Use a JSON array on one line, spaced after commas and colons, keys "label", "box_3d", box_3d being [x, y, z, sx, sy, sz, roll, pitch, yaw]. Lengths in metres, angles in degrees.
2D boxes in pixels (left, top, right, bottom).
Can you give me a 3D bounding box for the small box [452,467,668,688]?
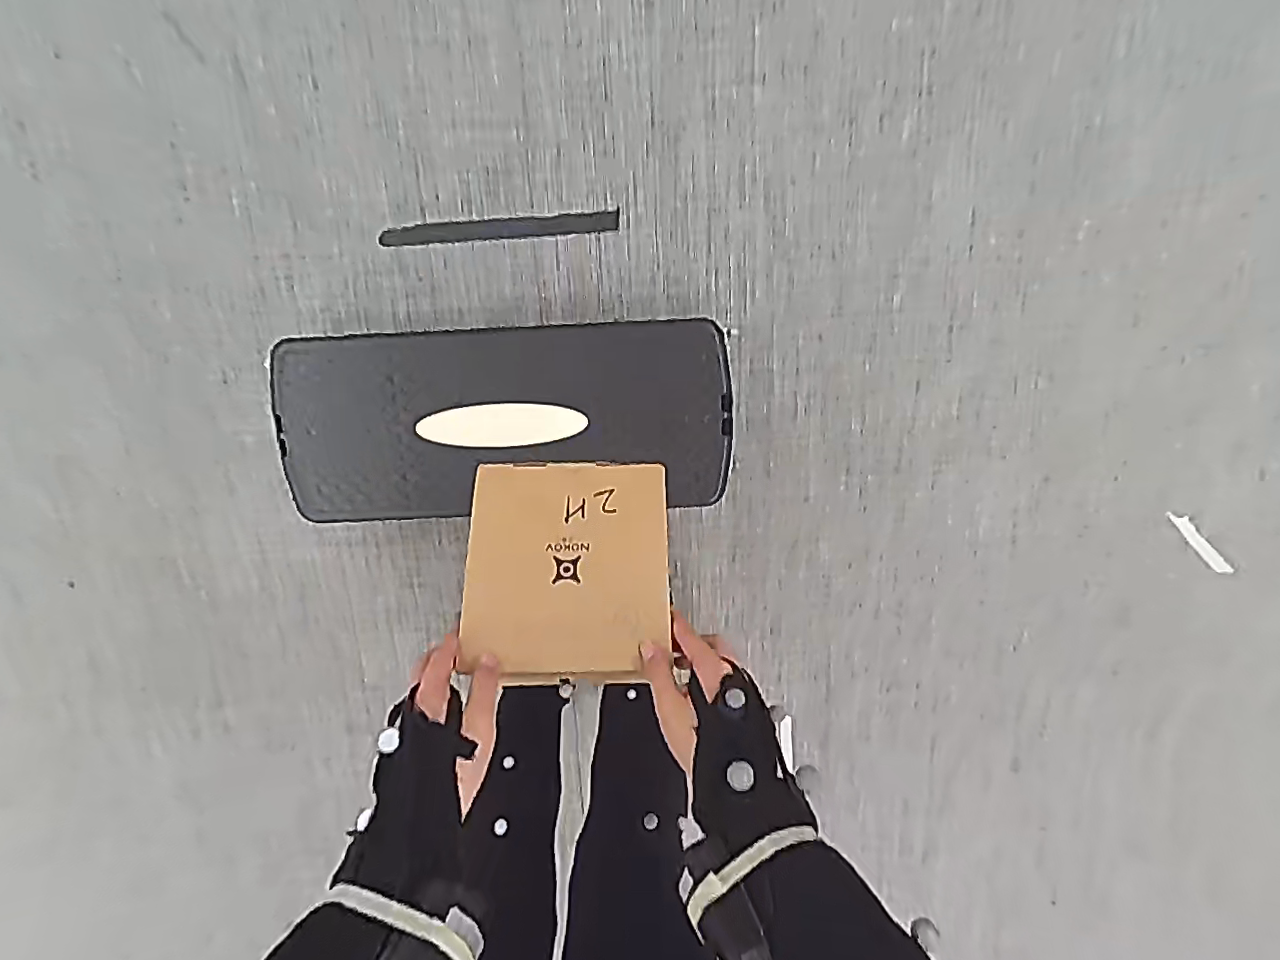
[{"label": "small box", "box_3d": [-0.063, 0.101, 0.508, 0.168, 0.176, 0.179, 0, 66, -3]}]
